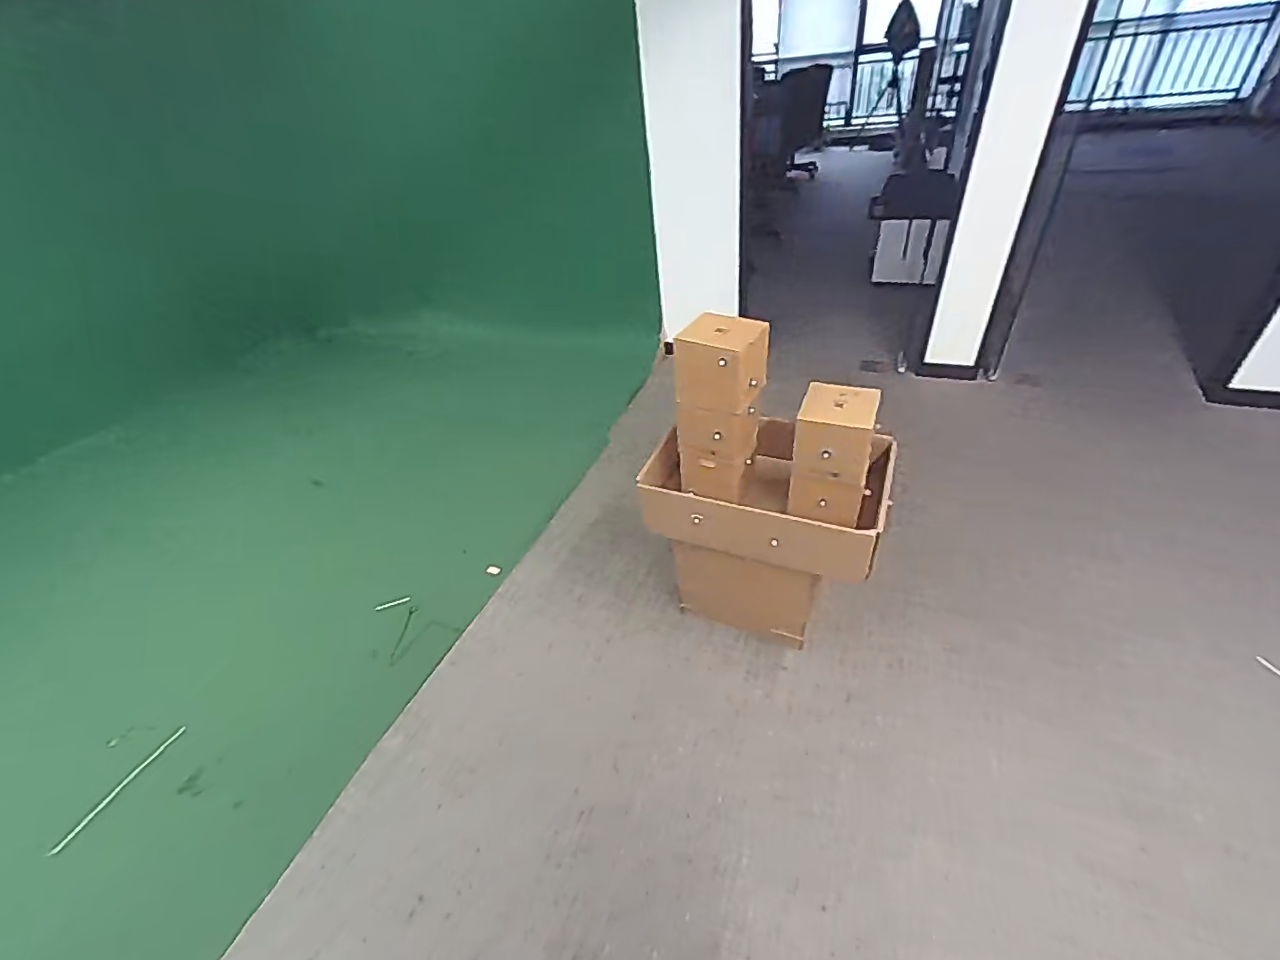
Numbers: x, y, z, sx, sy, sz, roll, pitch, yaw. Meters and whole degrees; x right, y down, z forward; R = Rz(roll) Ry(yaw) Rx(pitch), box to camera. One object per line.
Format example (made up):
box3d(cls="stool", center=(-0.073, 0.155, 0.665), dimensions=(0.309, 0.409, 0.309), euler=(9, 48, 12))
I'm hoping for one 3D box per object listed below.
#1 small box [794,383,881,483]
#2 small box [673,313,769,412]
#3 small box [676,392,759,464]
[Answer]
box3d(cls="small box", center=(0.478, -0.114, 1.317), dimensions=(0.168, 0.176, 0.179), euler=(12, 43, 23))
box3d(cls="small box", center=(0.198, -0.287, 1.324), dimensions=(0.179, 0.176, 0.168), euler=(20, 46, 27))
box3d(cls="small box", center=(0.211, -0.166, 1.432), dimensions=(0.168, 0.176, 0.179), euler=(17, 44, 26))
